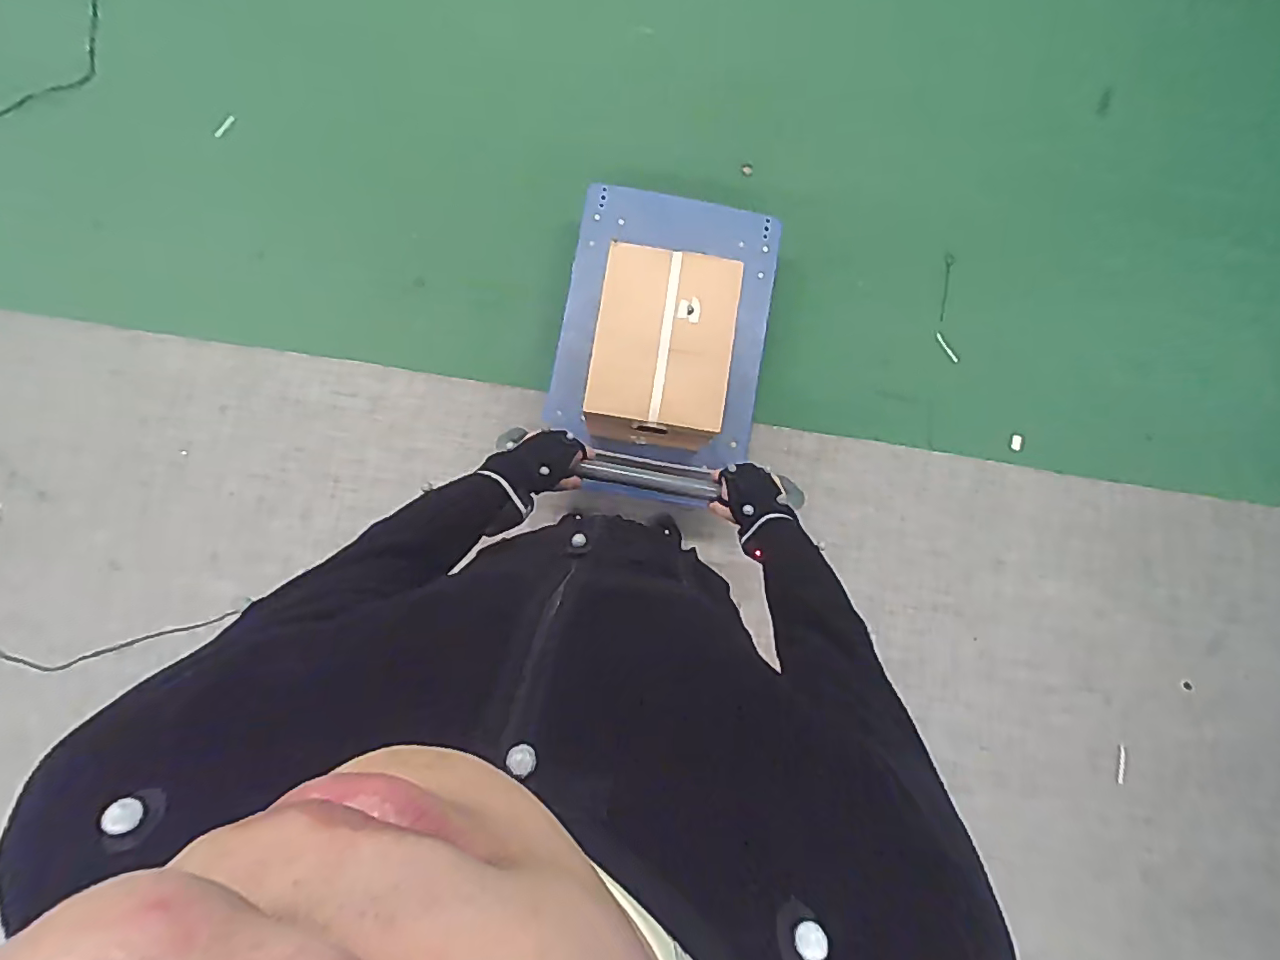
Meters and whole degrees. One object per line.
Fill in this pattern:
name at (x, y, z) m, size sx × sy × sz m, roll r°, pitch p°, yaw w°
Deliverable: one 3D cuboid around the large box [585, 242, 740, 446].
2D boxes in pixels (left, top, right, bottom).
large box at (0.051, -0.318, 1.375) m, size 0.320 × 0.320 × 0.408 m, roll 9°, pitch 85°, yaw -2°
